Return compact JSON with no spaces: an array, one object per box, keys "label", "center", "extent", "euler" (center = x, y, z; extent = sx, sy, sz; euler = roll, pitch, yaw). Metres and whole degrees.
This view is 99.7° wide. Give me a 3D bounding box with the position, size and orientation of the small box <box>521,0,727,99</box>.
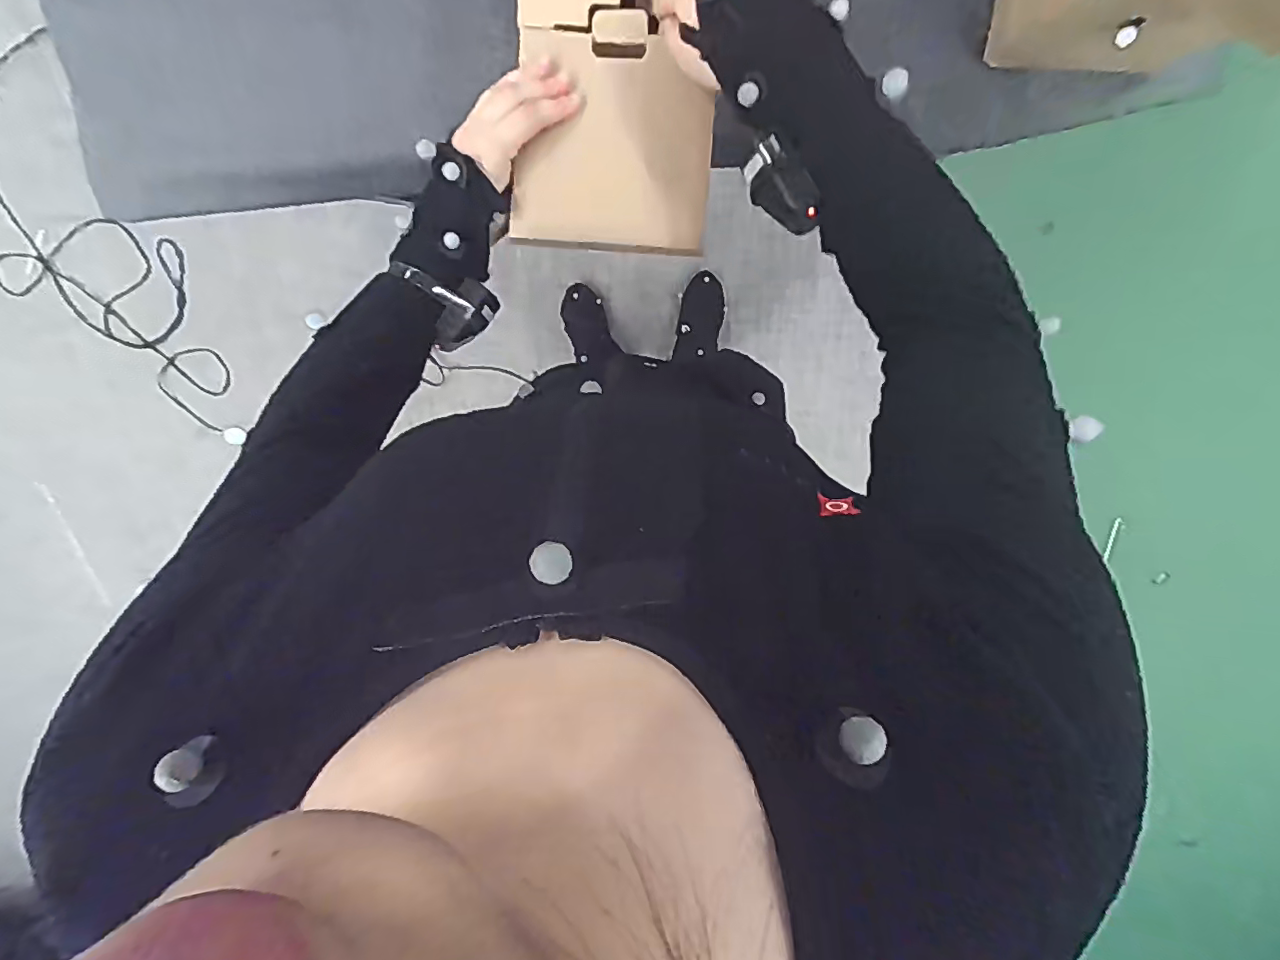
[{"label":"small box","center":[-0.003,-0.457,0.473],"extent":[0.168,0.176,0.179],"euler":[4,112,2]}]
